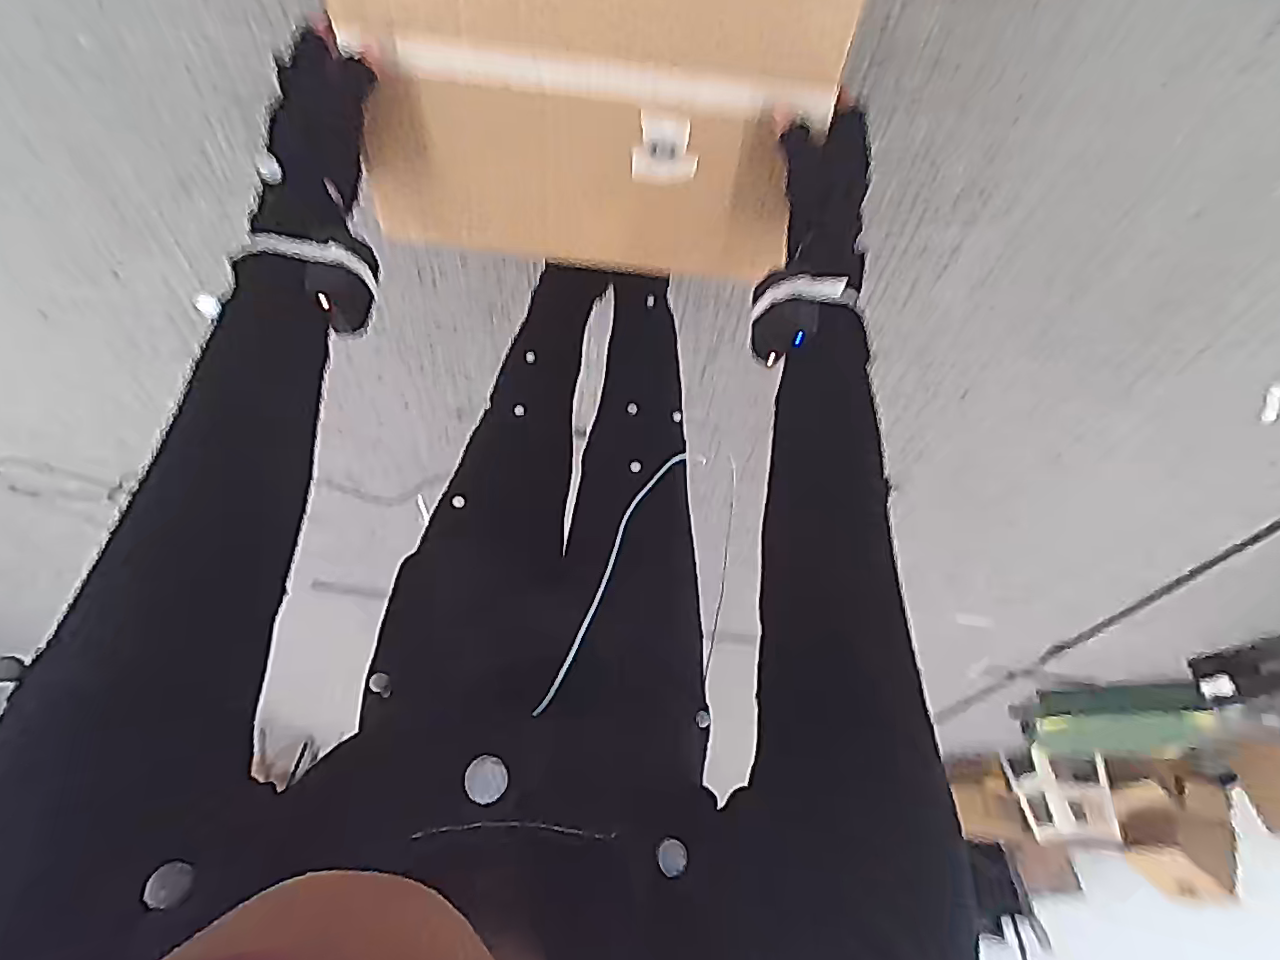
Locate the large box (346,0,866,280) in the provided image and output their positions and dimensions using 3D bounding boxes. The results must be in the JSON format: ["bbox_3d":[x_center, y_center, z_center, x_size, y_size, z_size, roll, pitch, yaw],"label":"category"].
[{"bbox_3d":[-0.030,-0.433,0.554,0.408,0.320,0.320,5,134,-3],"label":"large box"}]
